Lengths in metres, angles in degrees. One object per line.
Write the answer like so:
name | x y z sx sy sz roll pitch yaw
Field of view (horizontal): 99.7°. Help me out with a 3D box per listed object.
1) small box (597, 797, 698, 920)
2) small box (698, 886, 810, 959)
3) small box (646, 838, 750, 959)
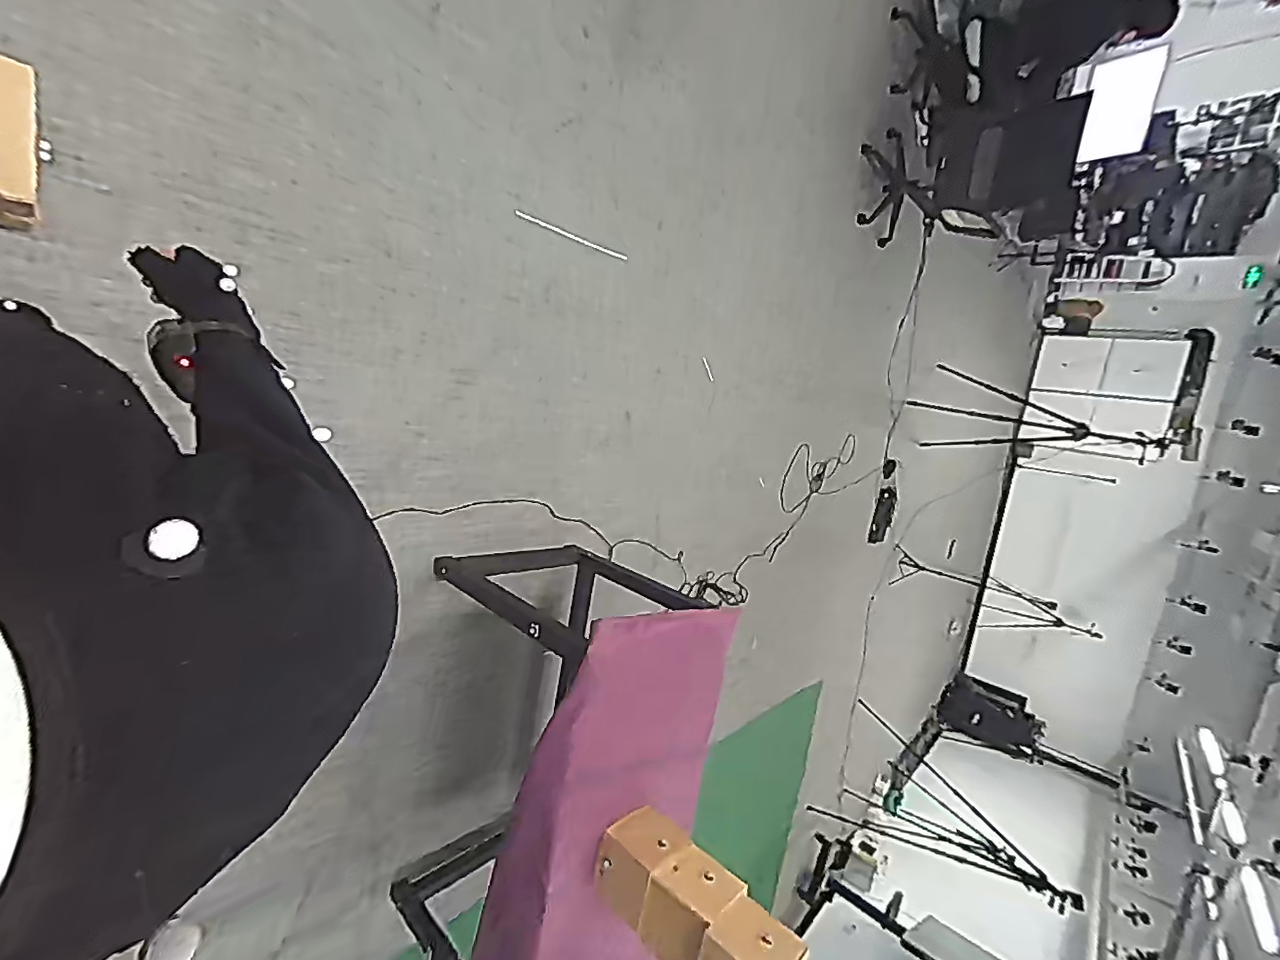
small box | 0.018 0.962 1.397 0.179 0.176 0.168 8 96 -49
small box | 0.240 1.037 1.170 0.179 0.176 0.168 9 95 -50
small box | 0.135 1.003 1.294 0.168 0.176 0.179 5 98 -49
